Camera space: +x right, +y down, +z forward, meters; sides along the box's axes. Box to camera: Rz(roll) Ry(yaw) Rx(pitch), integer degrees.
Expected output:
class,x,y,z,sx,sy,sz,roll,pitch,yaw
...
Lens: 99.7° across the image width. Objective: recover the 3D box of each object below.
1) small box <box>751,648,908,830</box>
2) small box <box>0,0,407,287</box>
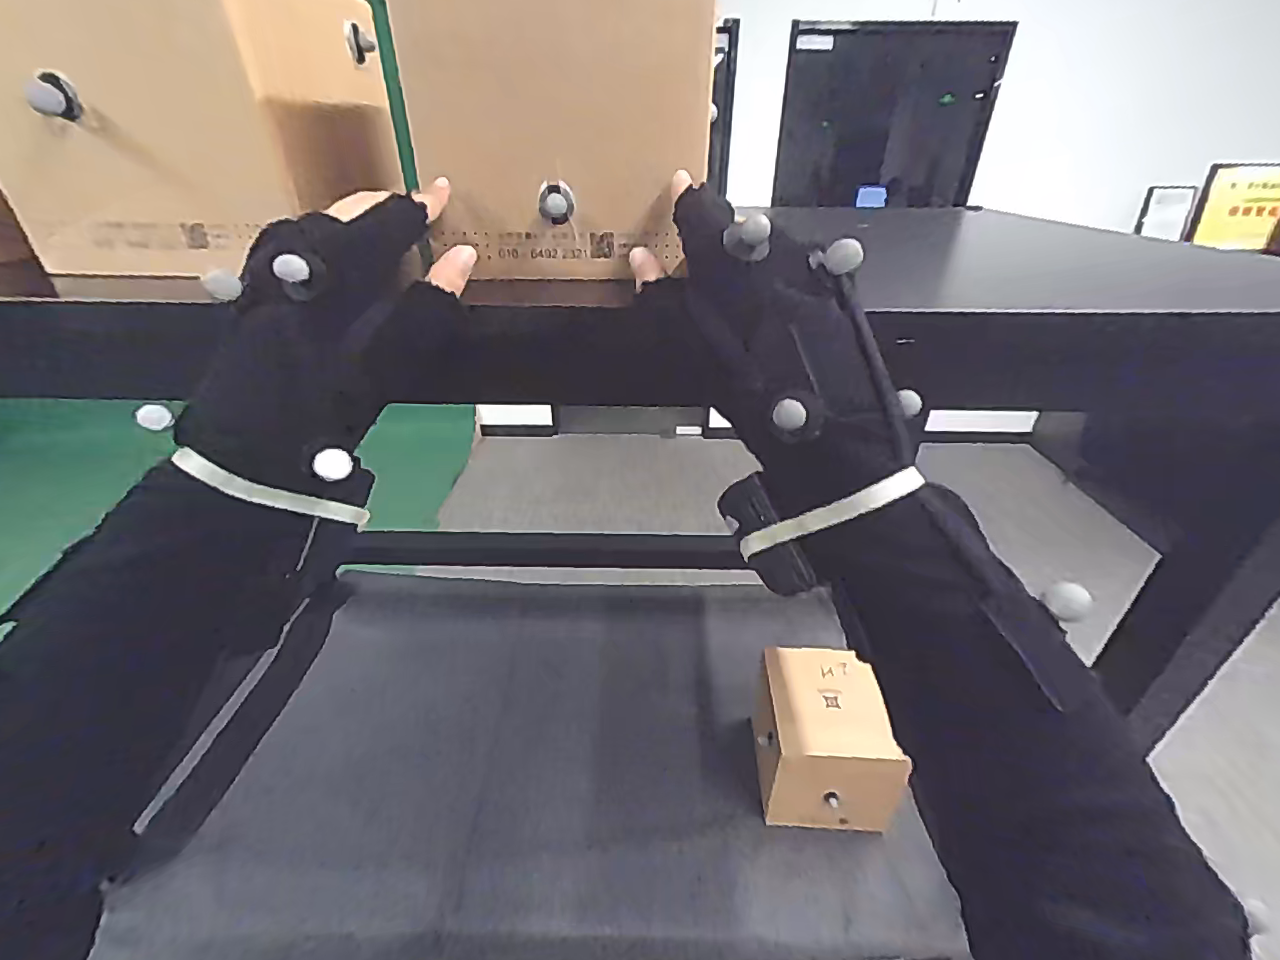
class,x,y,z,sx,sy,sz,roll,pitch,yaw
small box,0.258,0.371,0.781,0.168,0.176,0.179,3,30,3
small box,-0.283,-0.234,0.372,0.168,0.176,0.179,1,30,2
